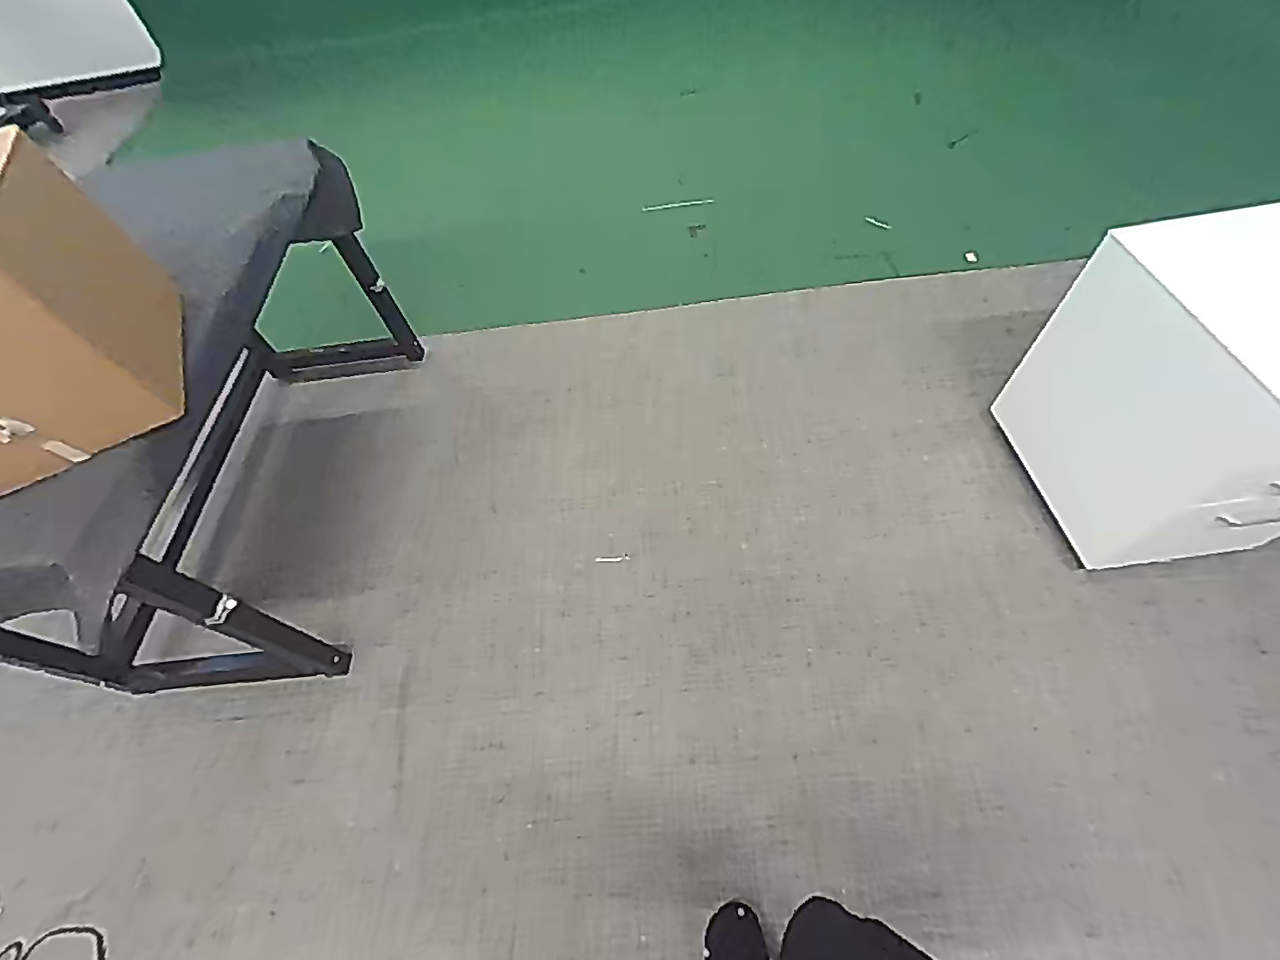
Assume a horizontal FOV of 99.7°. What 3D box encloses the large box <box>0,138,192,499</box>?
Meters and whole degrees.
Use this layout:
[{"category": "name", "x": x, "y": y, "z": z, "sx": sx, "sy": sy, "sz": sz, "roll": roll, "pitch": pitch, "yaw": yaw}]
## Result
[{"category": "large box", "x": -0.975, "y": -0.251, "z": 0.840, "sx": 0.320, "sy": 0.320, "sz": 0.408, "roll": -28, "pitch": 56, "yaw": -11}]
